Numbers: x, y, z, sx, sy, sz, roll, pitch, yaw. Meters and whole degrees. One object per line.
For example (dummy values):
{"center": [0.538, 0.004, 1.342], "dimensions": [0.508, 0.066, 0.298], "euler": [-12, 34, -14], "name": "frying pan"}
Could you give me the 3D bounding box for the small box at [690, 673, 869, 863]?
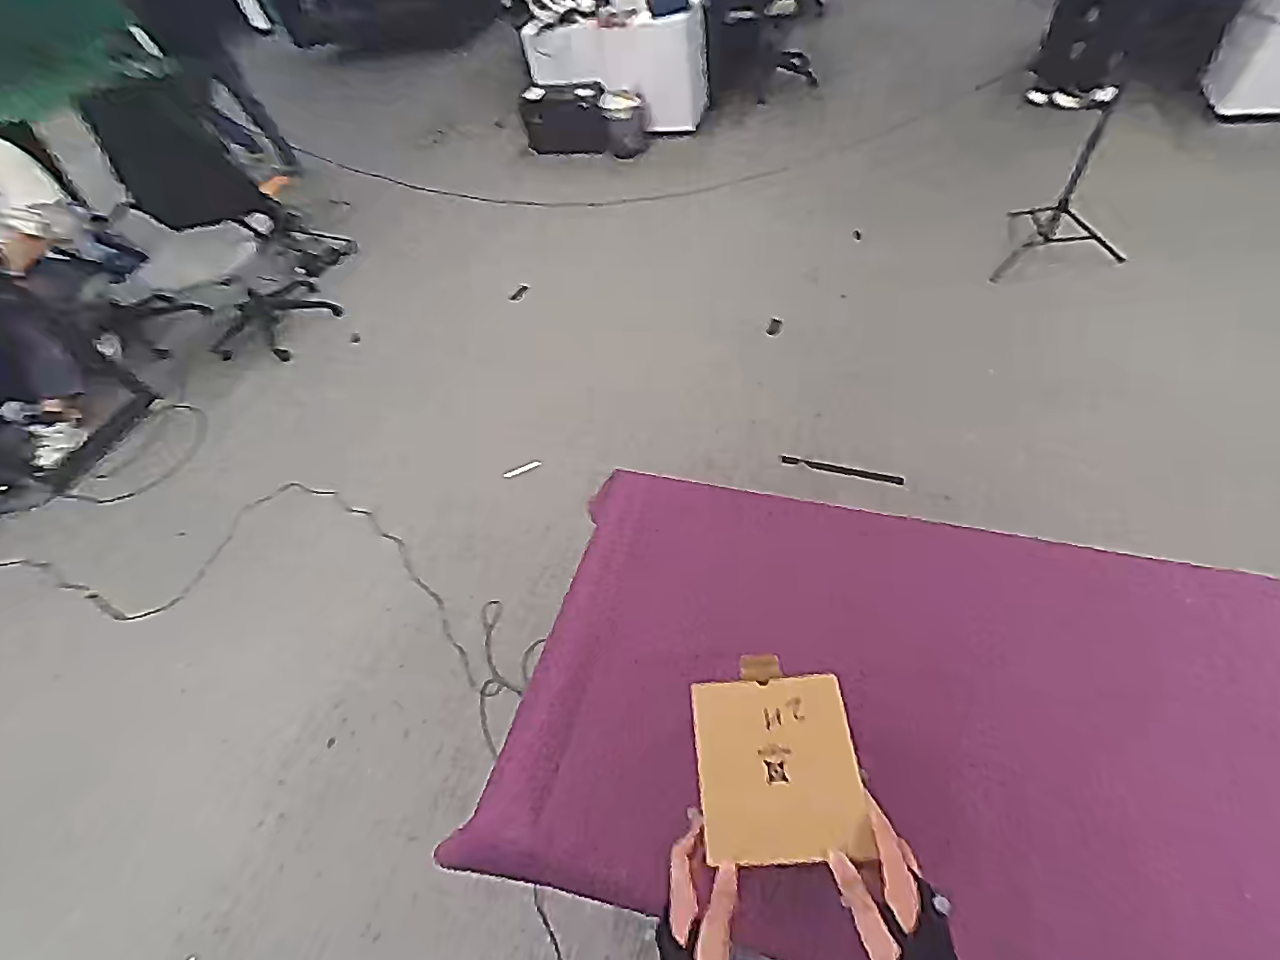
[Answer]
{"center": [0.151, 0.341, 0.635], "dimensions": [0.168, 0.176, 0.179], "euler": [-5, 54, 6], "name": "small box"}
